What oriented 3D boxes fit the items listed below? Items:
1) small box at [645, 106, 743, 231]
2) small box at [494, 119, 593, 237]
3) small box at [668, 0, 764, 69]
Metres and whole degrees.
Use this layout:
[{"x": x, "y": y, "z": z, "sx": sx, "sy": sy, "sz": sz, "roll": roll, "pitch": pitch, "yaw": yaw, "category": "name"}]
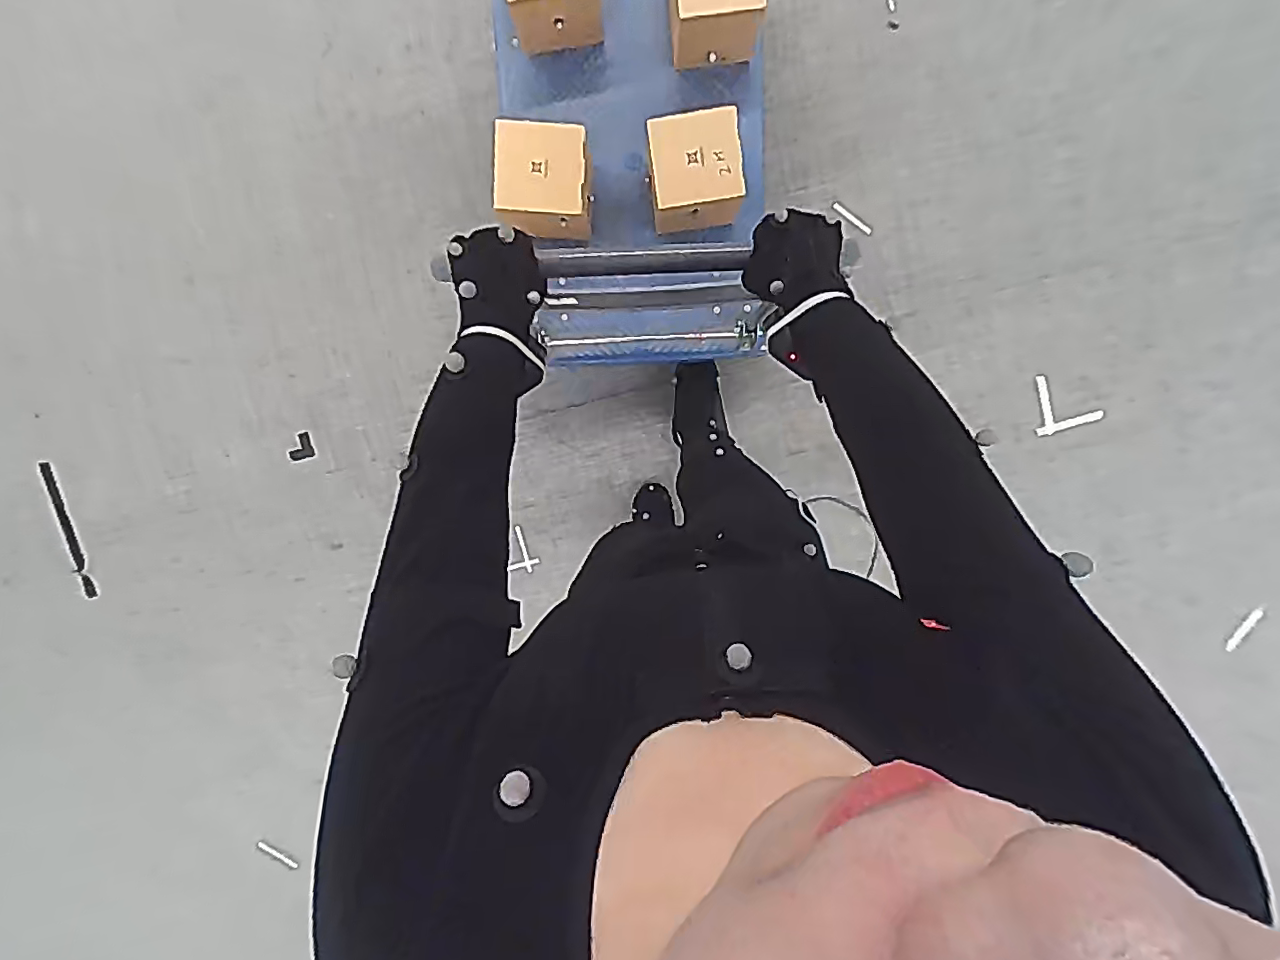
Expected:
[{"x": 0.108, "y": -0.638, "z": 1.129, "sx": 0.179, "sy": 0.176, "sz": 0.168, "roll": -8, "pitch": 98, "yaw": 2, "category": "small box"}, {"x": -0.196, "y": -0.624, "z": 1.135, "sx": 0.179, "sy": 0.176, "sz": 0.168, "roll": 3, "pitch": 98, "yaw": -1, "category": "small box"}, {"x": 0.144, "y": -0.971, "z": 1.078, "sx": 0.168, "sy": 0.176, "sz": 0.179, "roll": -6, "pitch": 99, "yaw": 2, "category": "small box"}]
